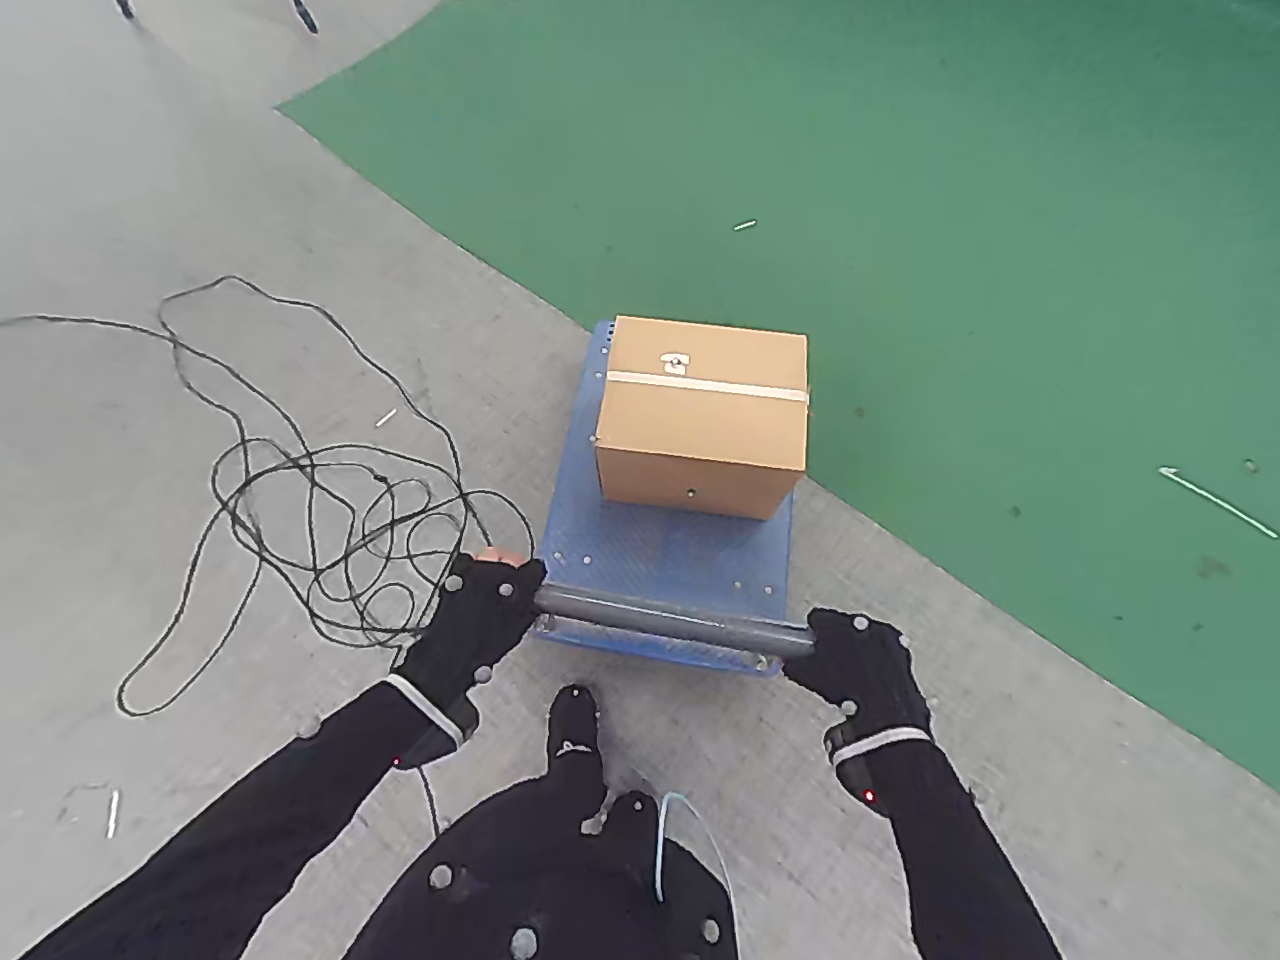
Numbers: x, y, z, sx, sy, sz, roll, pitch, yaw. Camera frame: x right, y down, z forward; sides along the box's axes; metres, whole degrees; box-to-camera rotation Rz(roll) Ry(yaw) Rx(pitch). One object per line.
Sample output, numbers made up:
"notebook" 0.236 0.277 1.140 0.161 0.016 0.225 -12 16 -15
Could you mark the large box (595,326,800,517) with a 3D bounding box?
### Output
"large box" 0.128 -0.118 1.235 0.408 0.320 0.320 6 68 3
